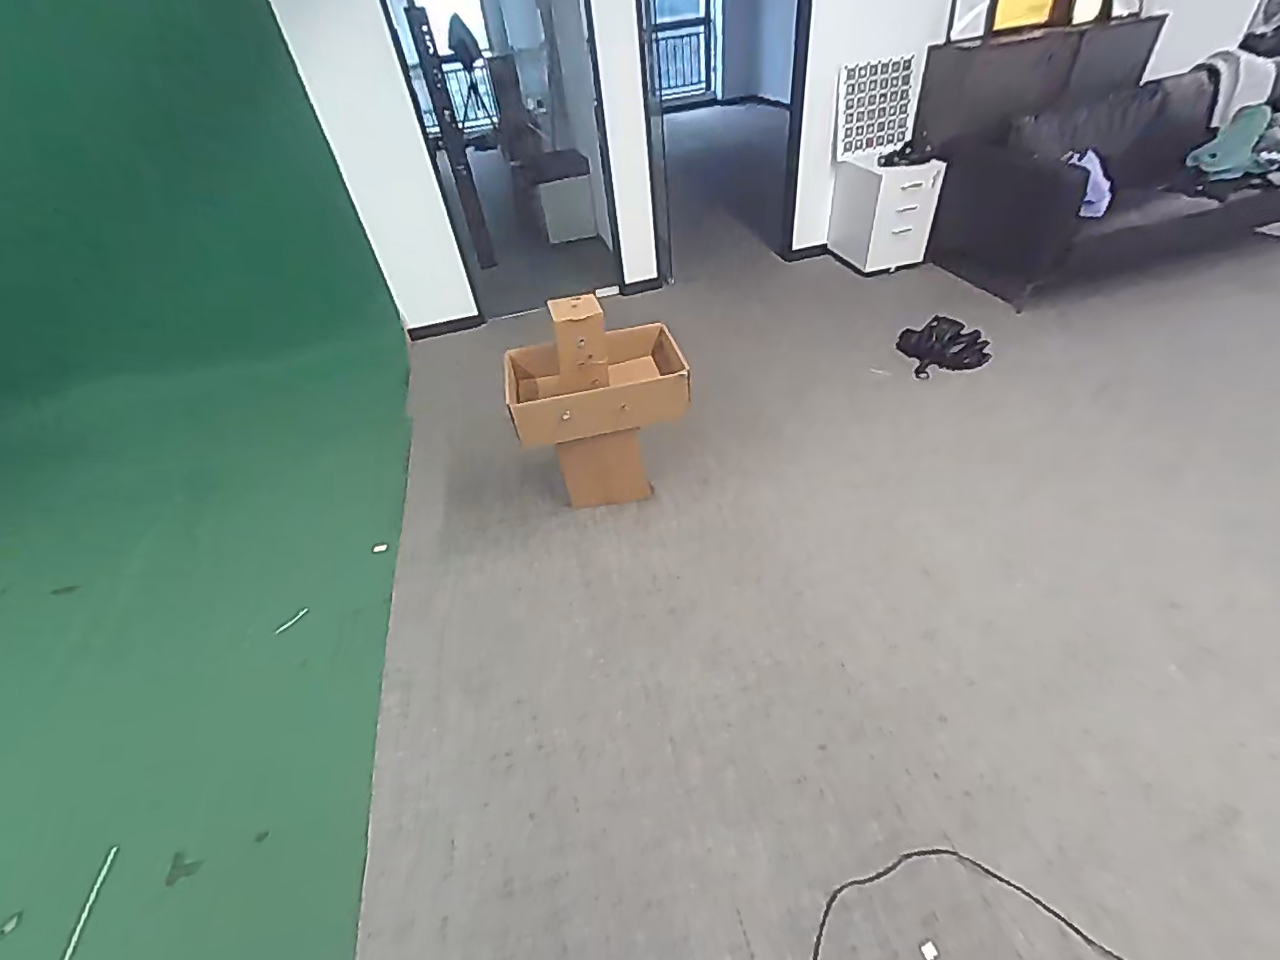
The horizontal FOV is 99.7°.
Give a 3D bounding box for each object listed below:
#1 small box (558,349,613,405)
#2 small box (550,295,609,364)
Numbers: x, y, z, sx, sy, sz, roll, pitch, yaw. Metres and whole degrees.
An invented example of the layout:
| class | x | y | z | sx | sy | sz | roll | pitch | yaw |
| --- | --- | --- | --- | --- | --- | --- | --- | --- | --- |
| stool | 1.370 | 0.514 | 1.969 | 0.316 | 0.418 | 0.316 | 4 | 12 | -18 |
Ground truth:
| class | x | y | z | sx | sy | sz | roll | pitch | yaw |
| --- | --- | --- | --- | --- | --- | --- | --- | --- | --- |
| small box | -0.197 | -0.384 | 1.962 | 0.168 | 0.176 | 0.179 | -10 | 39 | -7 |
| small box | -0.206 | -0.513 | 1.861 | 0.168 | 0.176 | 0.179 | -12 | 42 | -9 |
